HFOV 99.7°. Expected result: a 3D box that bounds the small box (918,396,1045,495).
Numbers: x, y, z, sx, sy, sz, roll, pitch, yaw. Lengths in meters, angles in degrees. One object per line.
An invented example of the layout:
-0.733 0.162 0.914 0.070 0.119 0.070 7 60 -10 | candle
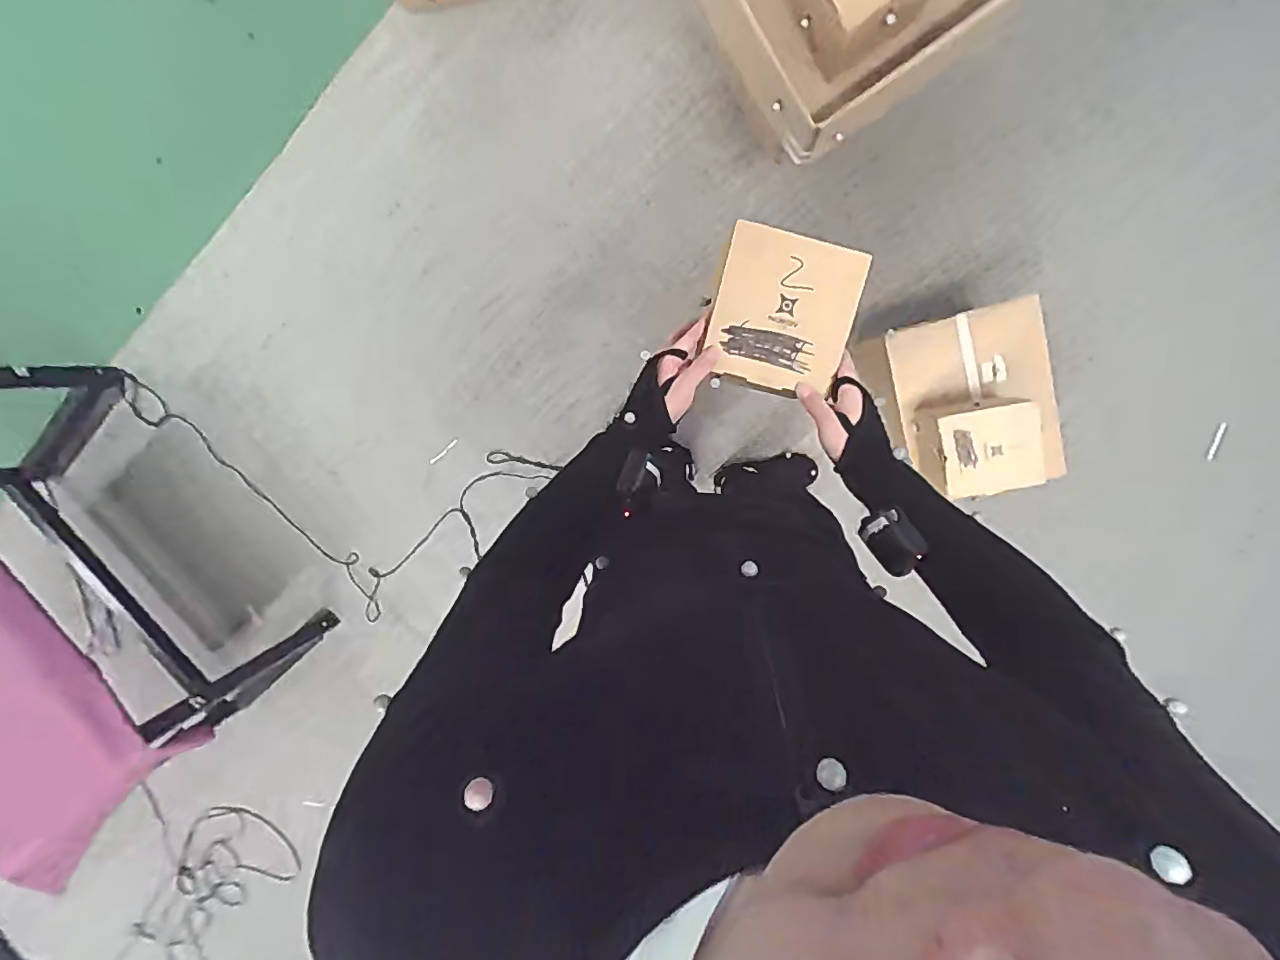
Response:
0.692 -0.075 1.117 0.179 0.176 0.168 -10 100 12 | small box

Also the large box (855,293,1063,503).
0.758 -0.196 1.336 0.320 0.320 0.408 -14 98 11 | large box

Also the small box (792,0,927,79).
0.375 -0.835 0.905 0.179 0.176 0.168 -30 95 15 | small box
